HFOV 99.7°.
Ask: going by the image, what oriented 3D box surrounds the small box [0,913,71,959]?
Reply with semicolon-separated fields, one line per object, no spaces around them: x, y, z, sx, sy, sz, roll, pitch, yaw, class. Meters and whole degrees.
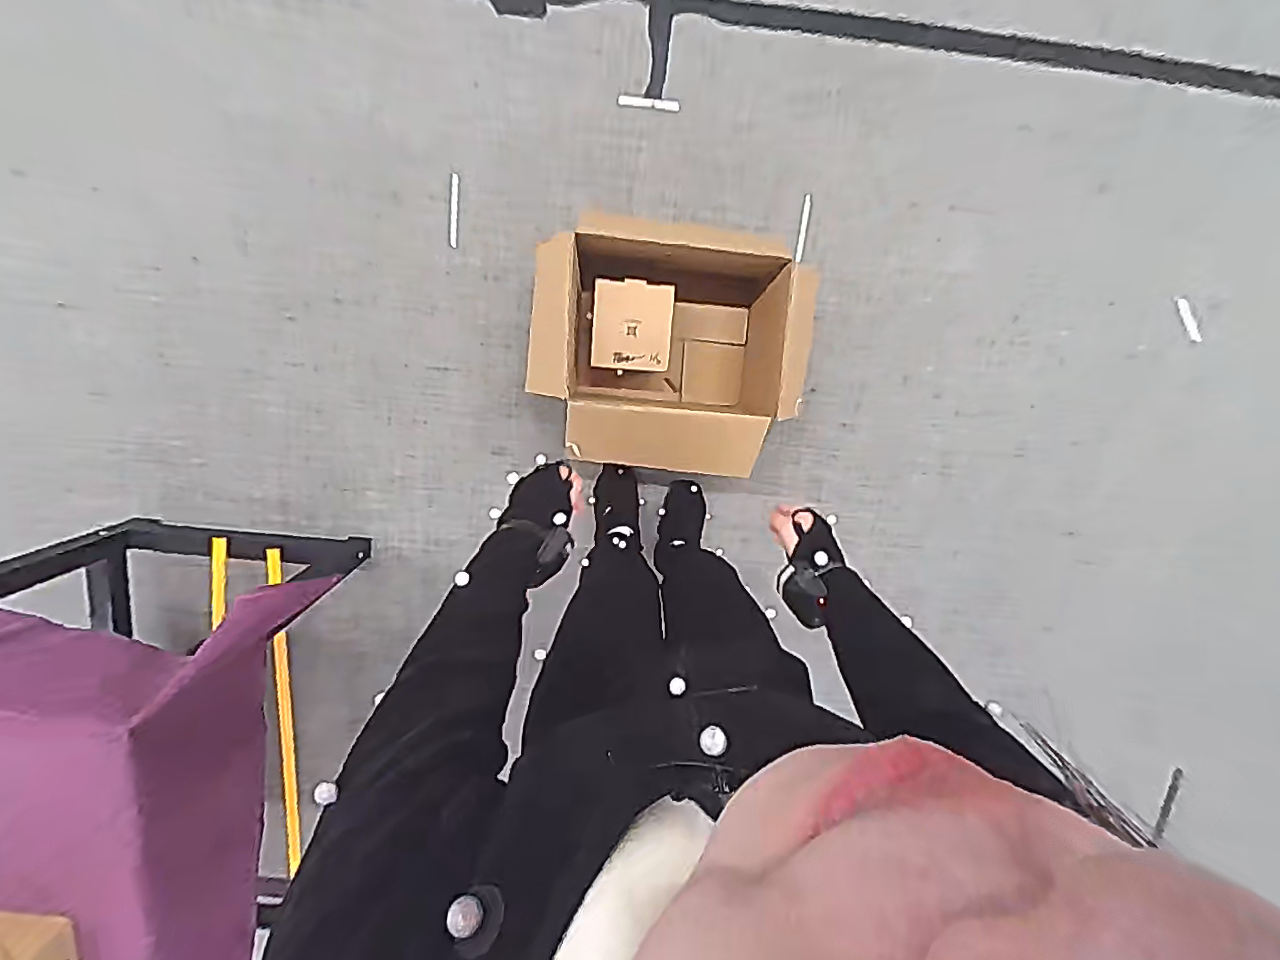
-0.851;0.663;0.654;0.179;0.176;0.168;9;102;-4;small box
